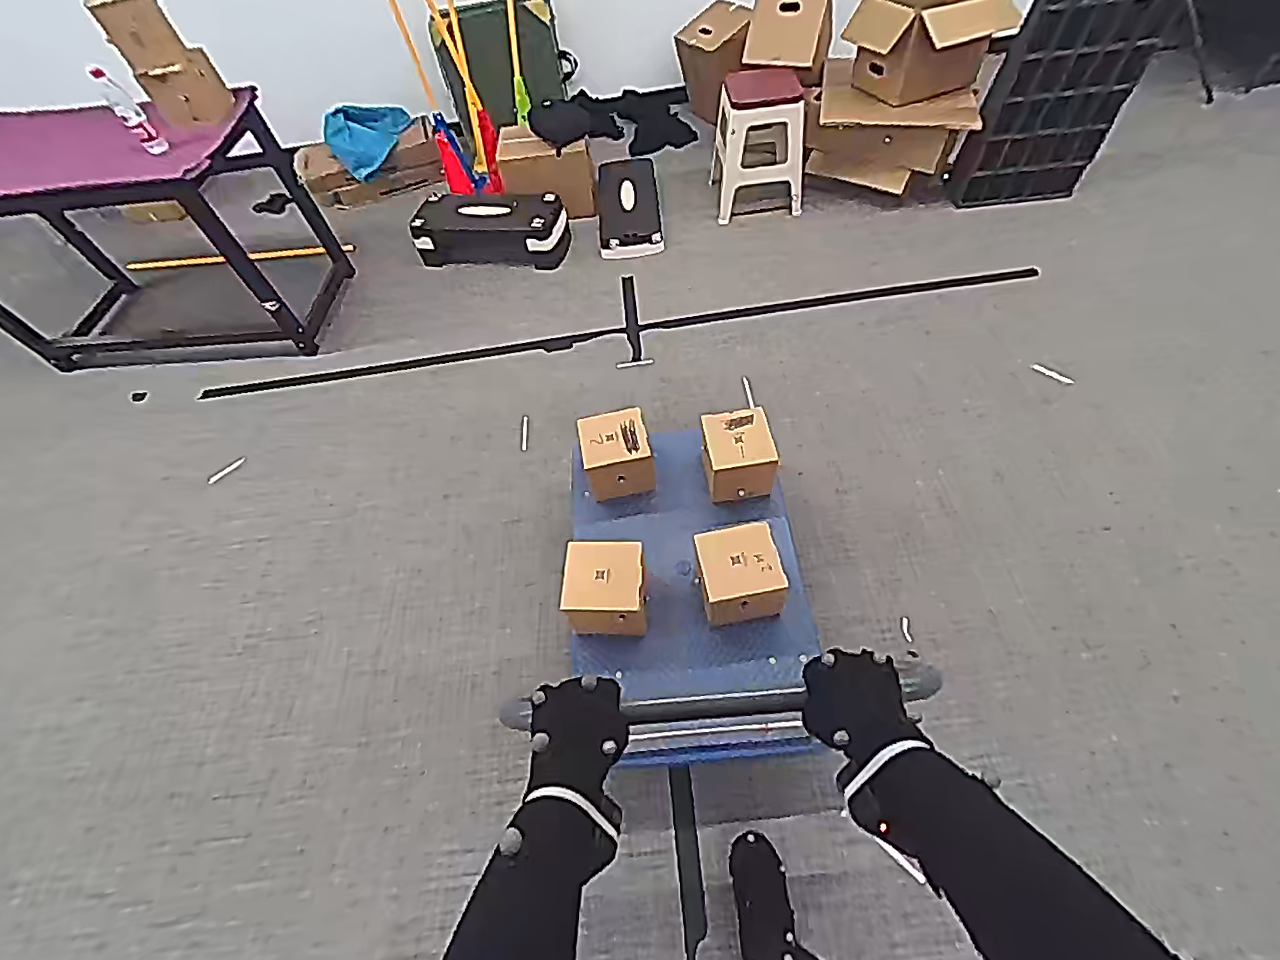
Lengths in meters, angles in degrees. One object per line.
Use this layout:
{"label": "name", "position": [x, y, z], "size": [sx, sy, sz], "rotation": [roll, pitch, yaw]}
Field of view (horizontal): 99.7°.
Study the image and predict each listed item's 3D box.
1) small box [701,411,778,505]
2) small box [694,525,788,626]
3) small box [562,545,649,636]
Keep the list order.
{"label": "small box", "position": [0.257, -0.057, 1.442], "size": [0.168, 0.176, 0.179], "rotation": [-9, 58, 1]}
{"label": "small box", "position": [0.229, 0.228, 1.261], "size": [0.179, 0.176, 0.168], "rotation": [-11, 57, 0]}
{"label": "small box", "position": [-0.074, 0.264, 1.273], "size": [0.179, 0.176, 0.168], "rotation": [-1, 57, 4]}
